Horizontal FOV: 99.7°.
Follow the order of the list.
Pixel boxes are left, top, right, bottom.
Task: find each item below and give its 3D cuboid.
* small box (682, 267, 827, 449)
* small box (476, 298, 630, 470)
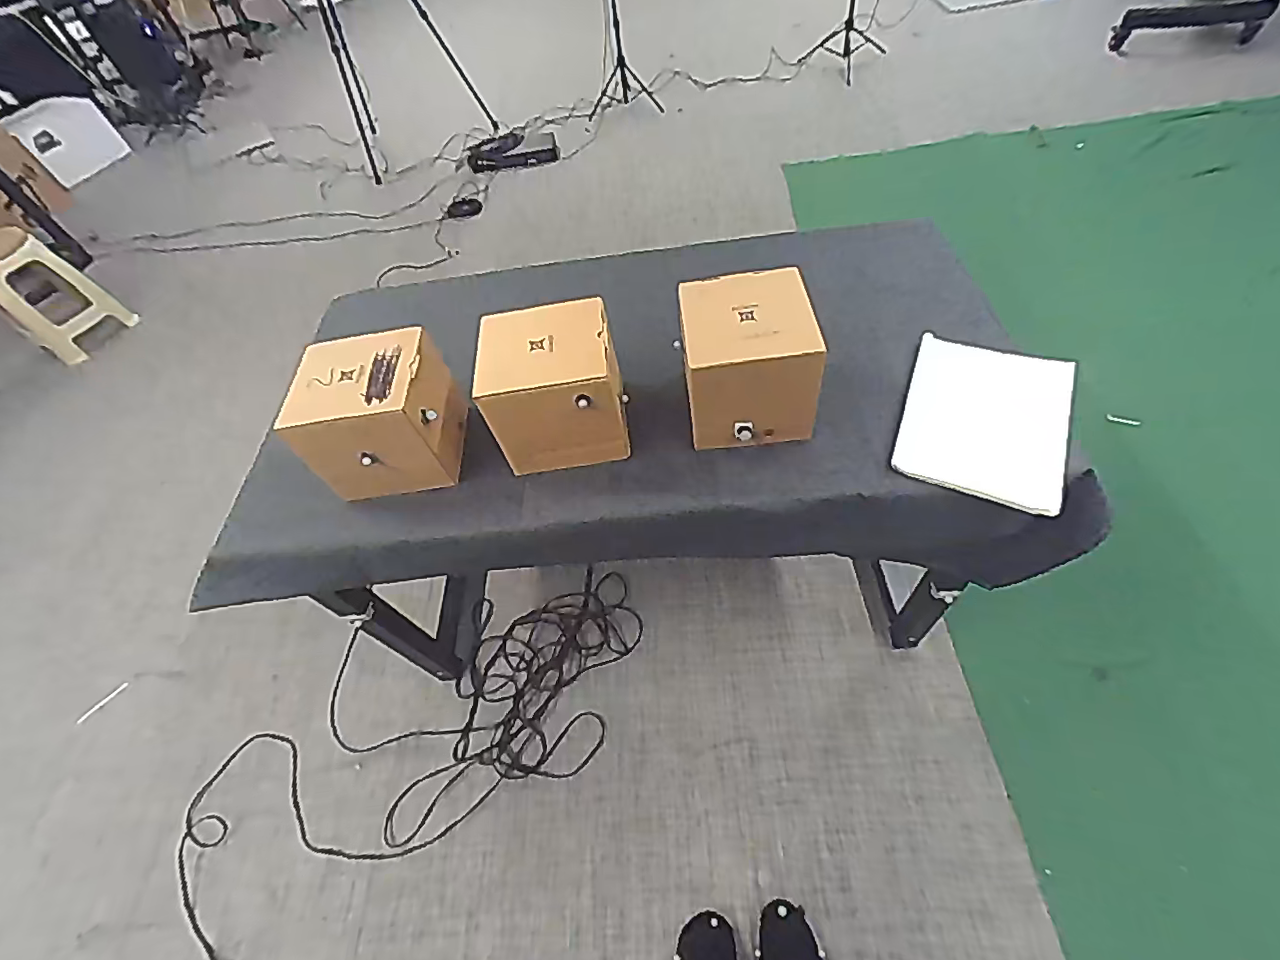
[{"bbox_3d":[0.151,-0.167,0.763,0.168,0.176,0.179,-7,55,6],"label":"small box"},{"bbox_3d":[-0.117,-0.132,0.782,0.179,0.176,0.168,-9,53,2],"label":"small box"}]
